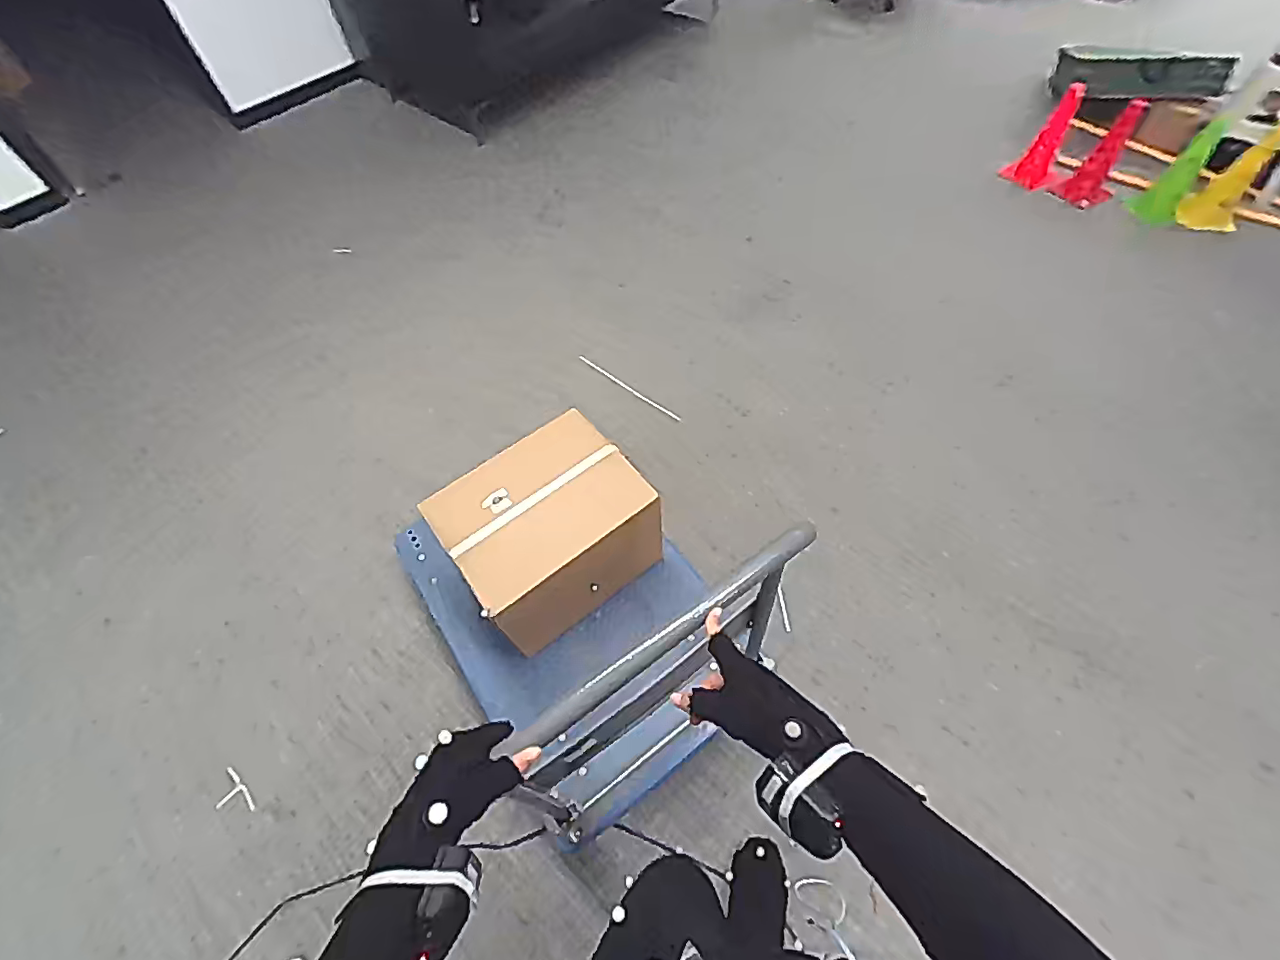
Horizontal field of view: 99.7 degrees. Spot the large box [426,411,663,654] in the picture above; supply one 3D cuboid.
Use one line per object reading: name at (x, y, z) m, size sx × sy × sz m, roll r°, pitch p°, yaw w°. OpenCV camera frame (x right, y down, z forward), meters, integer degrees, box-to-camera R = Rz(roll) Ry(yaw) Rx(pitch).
large box at (-0.193, 0.125, 1.250) m, size 0.408 × 0.320 × 0.320 m, roll -37°, pitch 62°, yaw -17°
